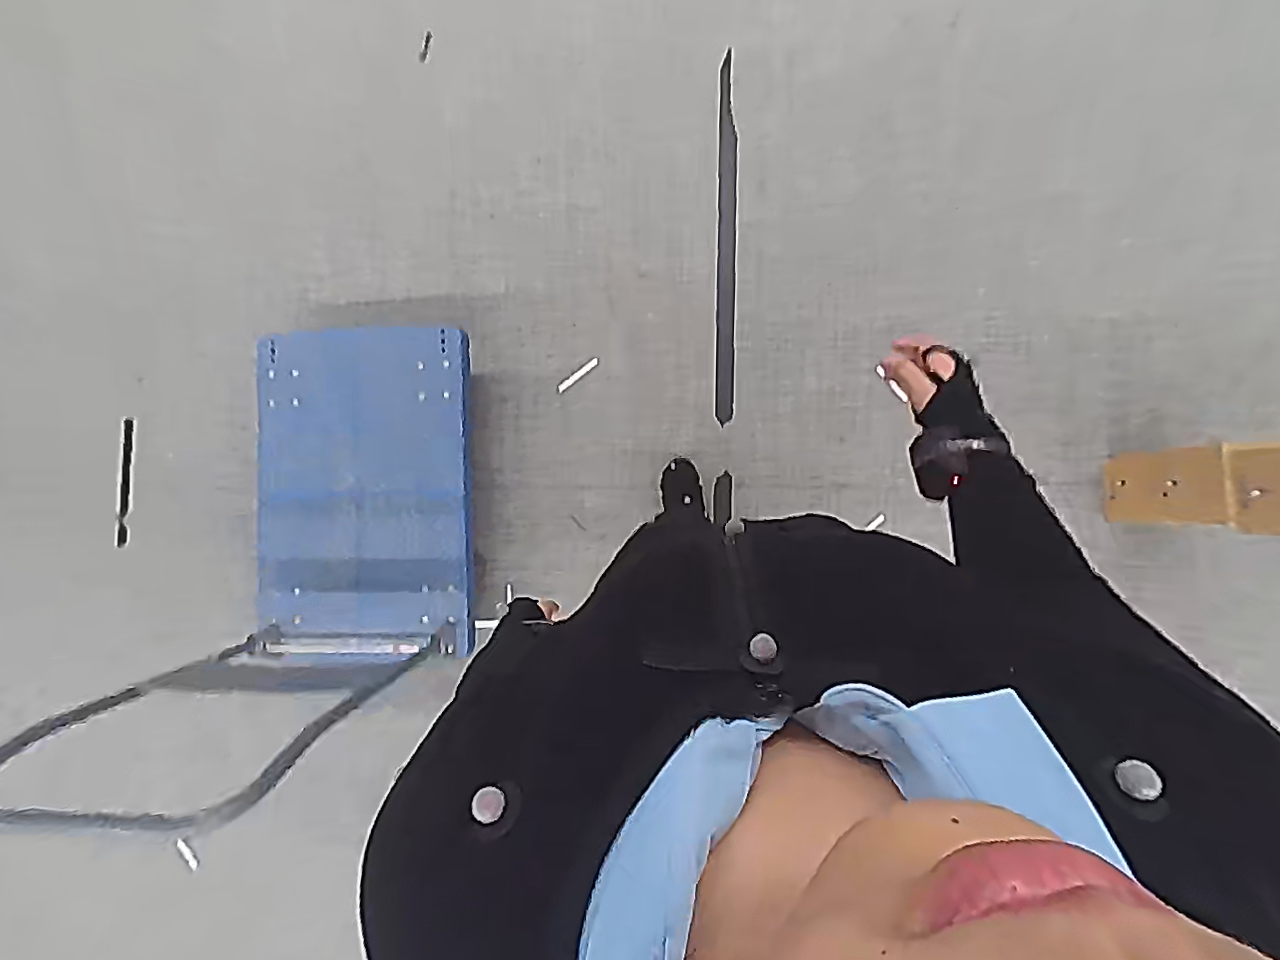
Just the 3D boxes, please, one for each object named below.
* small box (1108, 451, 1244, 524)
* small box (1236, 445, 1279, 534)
[{"bbox_3d":[1.285,0.018,1.301,0.179,0.176,0.168,-2,88,7],"label":"small box"},{"bbox_3d":[1.255,0.012,0.973,0.179,0.176,0.168,-6,87,7],"label":"small box"}]
